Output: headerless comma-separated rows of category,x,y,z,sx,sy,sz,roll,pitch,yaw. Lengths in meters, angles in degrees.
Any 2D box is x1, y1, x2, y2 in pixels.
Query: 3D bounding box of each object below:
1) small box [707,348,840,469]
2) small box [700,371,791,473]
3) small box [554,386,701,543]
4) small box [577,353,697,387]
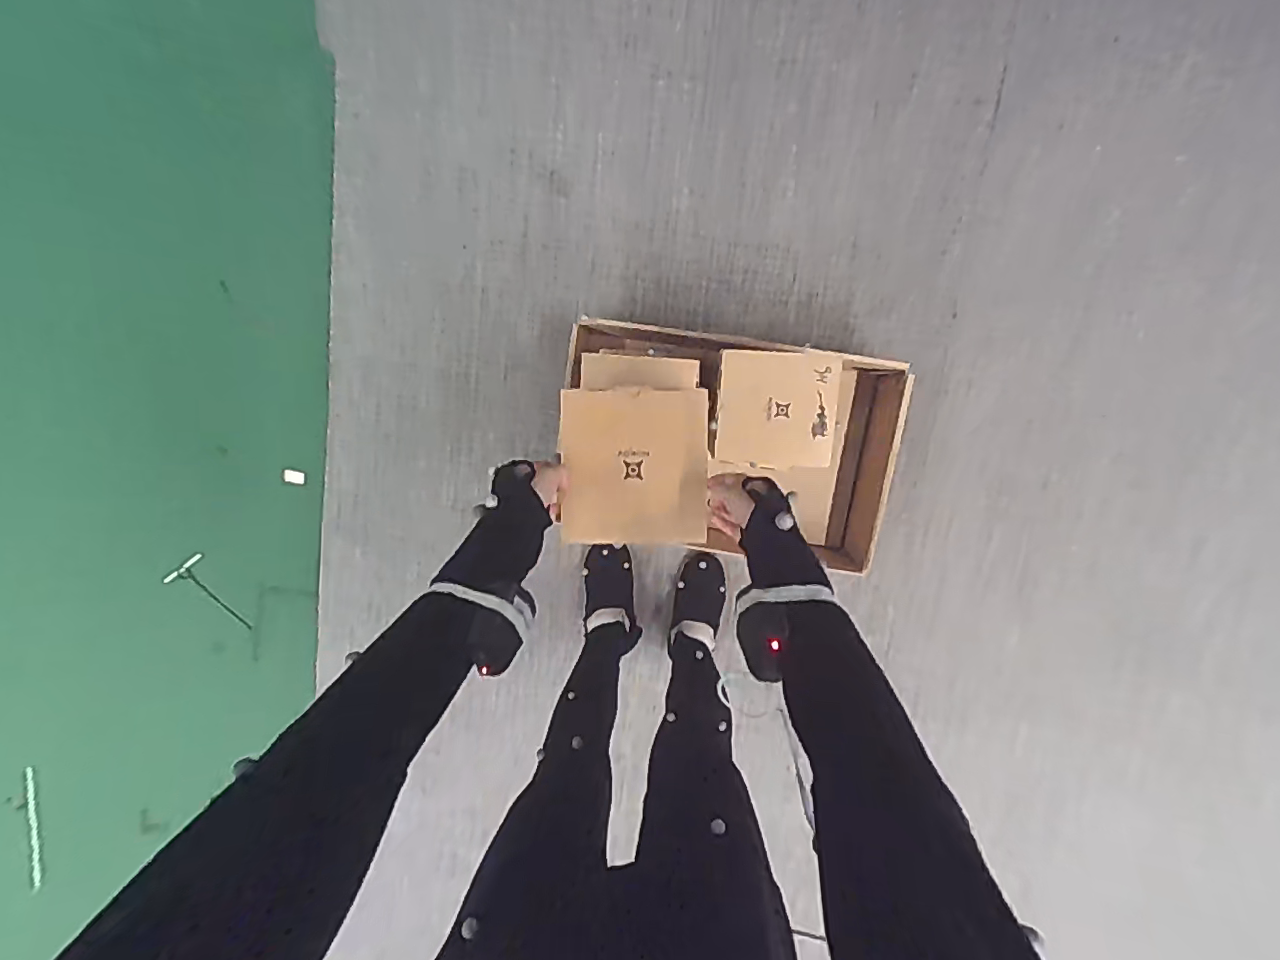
small box,0.202,-0.113,0.865,0.179,0.176,0.168,5,99,6
small box,0.207,-0.121,1.030,0.168,0.176,0.179,9,100,5
small box,-0.010,-0.019,0.681,0.168,0.176,0.179,0,91,2
small box,-0.004,-0.114,0.881,0.179,0.176,0.168,5,100,4
